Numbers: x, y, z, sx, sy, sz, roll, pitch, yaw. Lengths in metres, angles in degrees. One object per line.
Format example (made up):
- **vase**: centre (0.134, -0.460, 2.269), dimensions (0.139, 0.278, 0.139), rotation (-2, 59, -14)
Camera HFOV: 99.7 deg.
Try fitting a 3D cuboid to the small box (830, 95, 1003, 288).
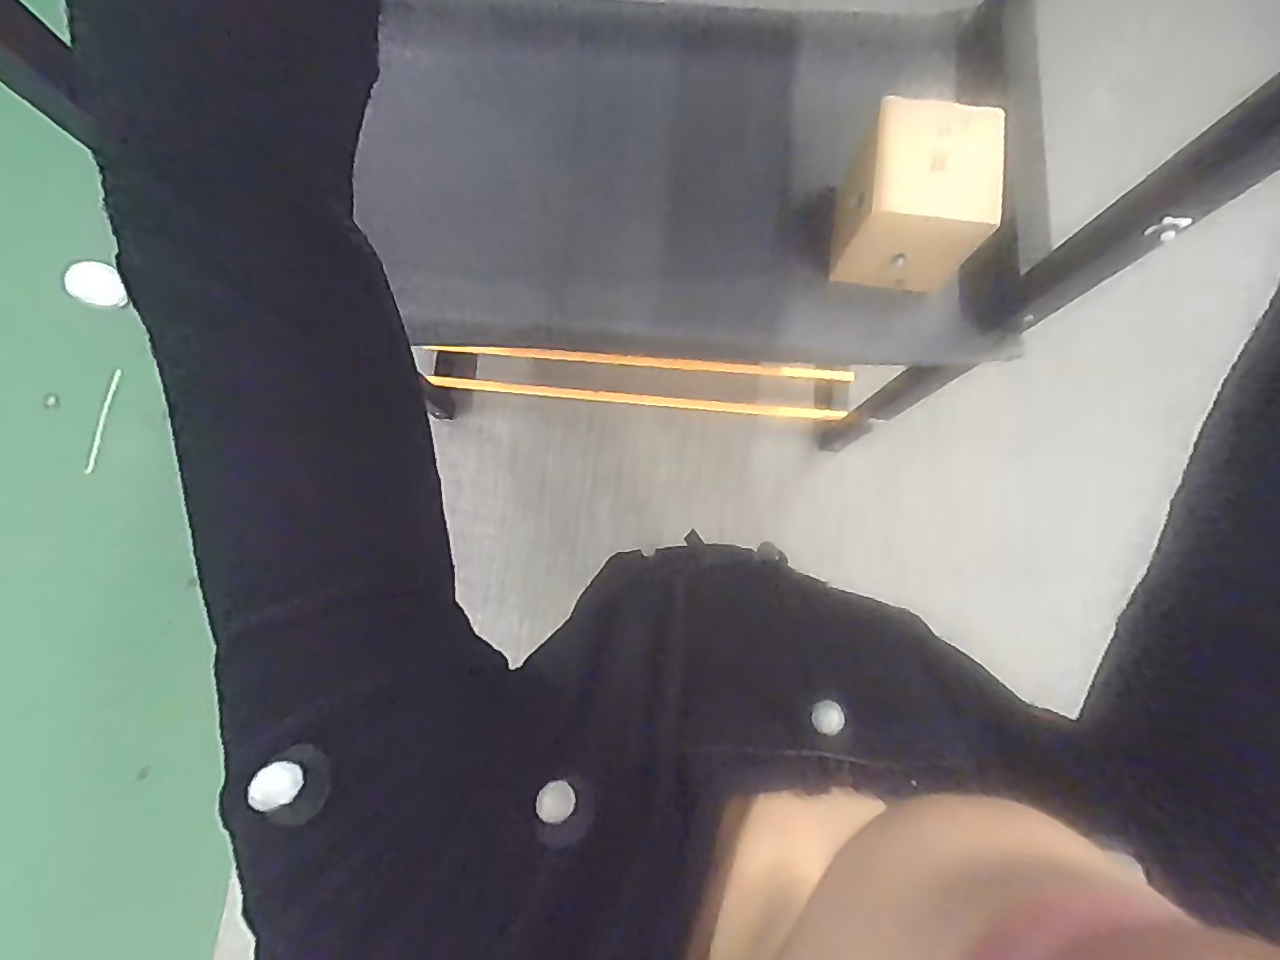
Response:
- **small box**: centre (0.385, -0.403, 0.780), dimensions (0.168, 0.176, 0.179), rotation (8, 79, 2)
